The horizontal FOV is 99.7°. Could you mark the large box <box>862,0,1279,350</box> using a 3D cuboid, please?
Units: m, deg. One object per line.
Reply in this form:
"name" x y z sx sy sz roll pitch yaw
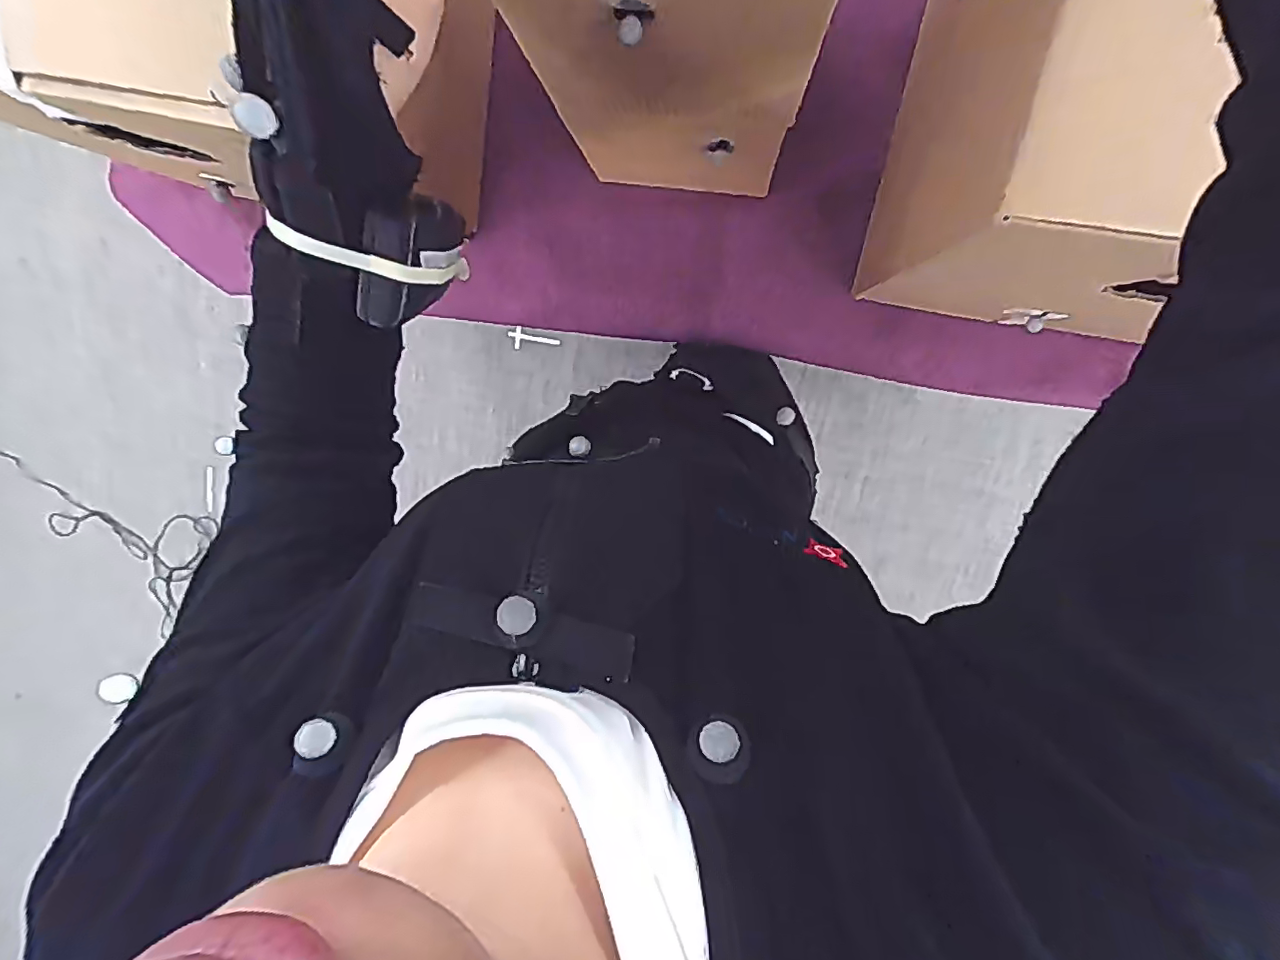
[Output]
"large box" 0.374 -0.311 0.343 0.320 0.320 0.408 11 102 5
